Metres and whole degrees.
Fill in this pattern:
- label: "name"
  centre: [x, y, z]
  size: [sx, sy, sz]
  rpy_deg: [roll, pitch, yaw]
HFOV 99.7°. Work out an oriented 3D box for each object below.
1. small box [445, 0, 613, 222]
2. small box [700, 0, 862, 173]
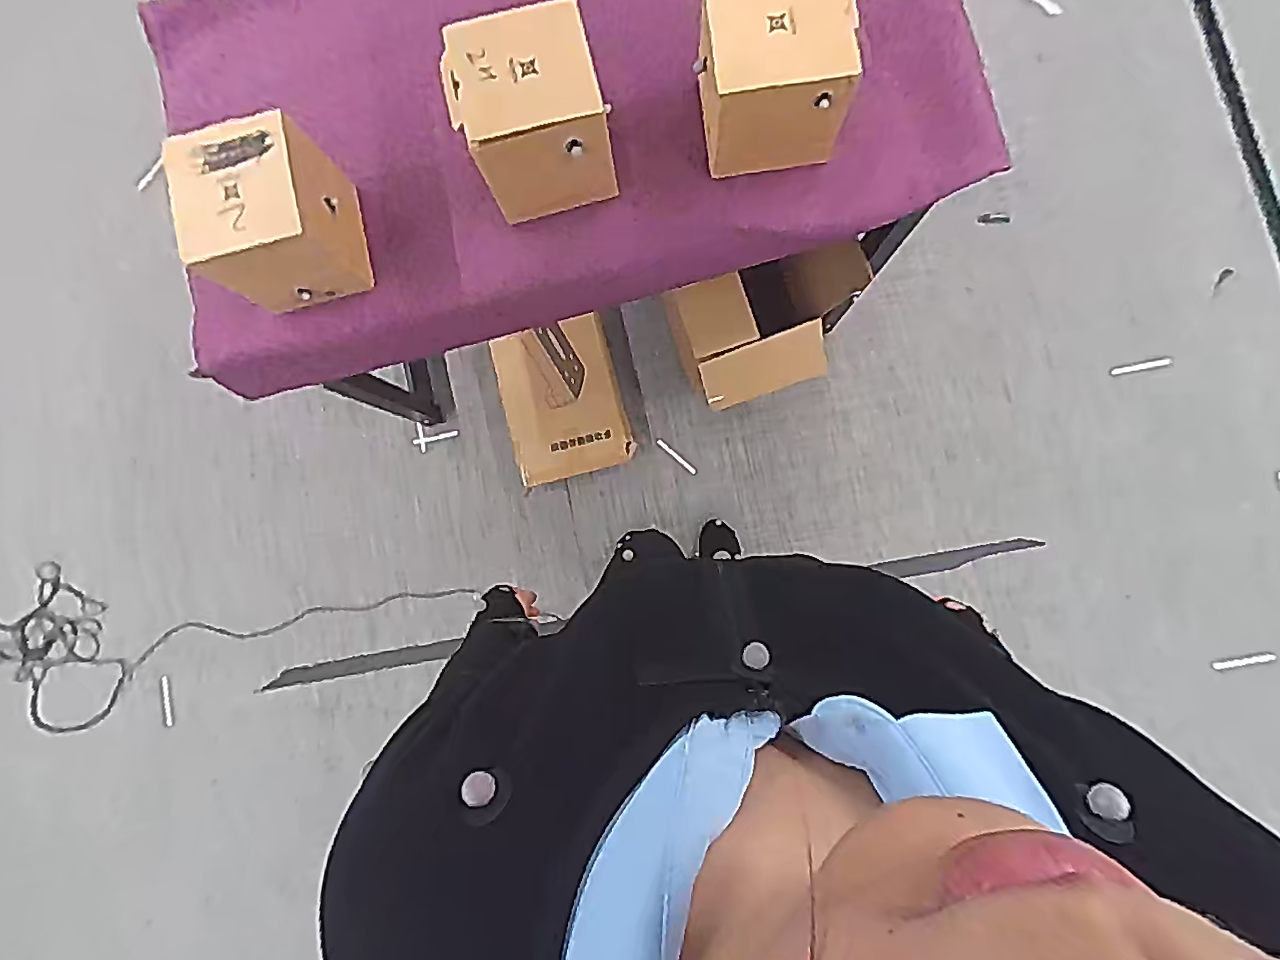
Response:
- label: "small box"
  centre: [-0.139, -0.493, 0.746]
  size: [0.179, 0.176, 0.168]
  rpy_deg: [-14, 83, 3]
- label: "small box"
  centre: [0.175, -0.547, 0.730]
  size: [0.179, 0.176, 0.168]
  rpy_deg: [-7, 85, 3]
